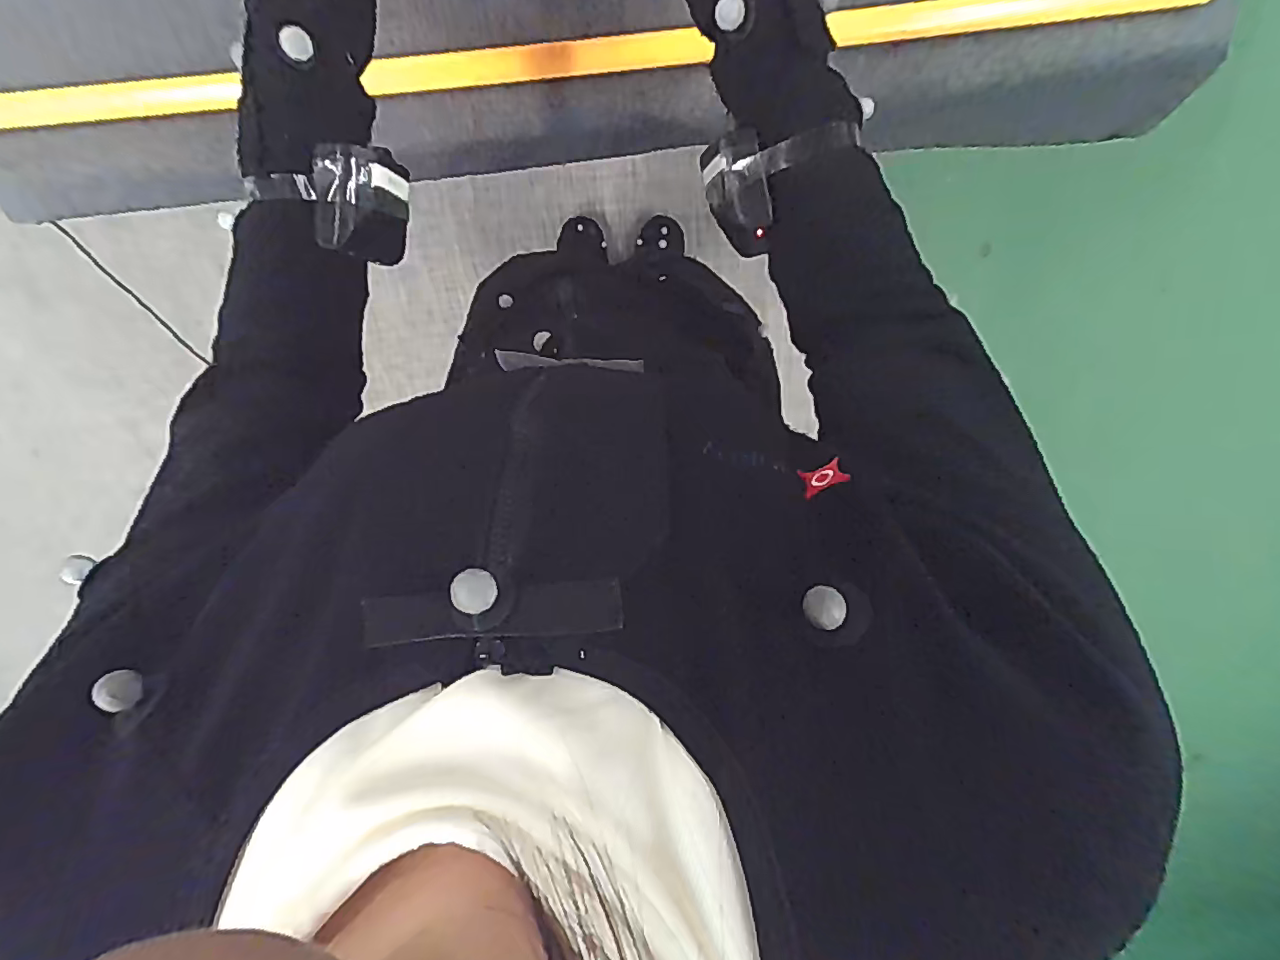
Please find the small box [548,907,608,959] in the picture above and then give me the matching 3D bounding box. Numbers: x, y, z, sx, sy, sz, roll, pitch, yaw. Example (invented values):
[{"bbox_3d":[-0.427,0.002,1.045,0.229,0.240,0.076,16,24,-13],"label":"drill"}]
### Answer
[{"bbox_3d":[-0.206,1.598,1.840,0.168,0.176,0.179,-13,118,2],"label":"small box"}]
